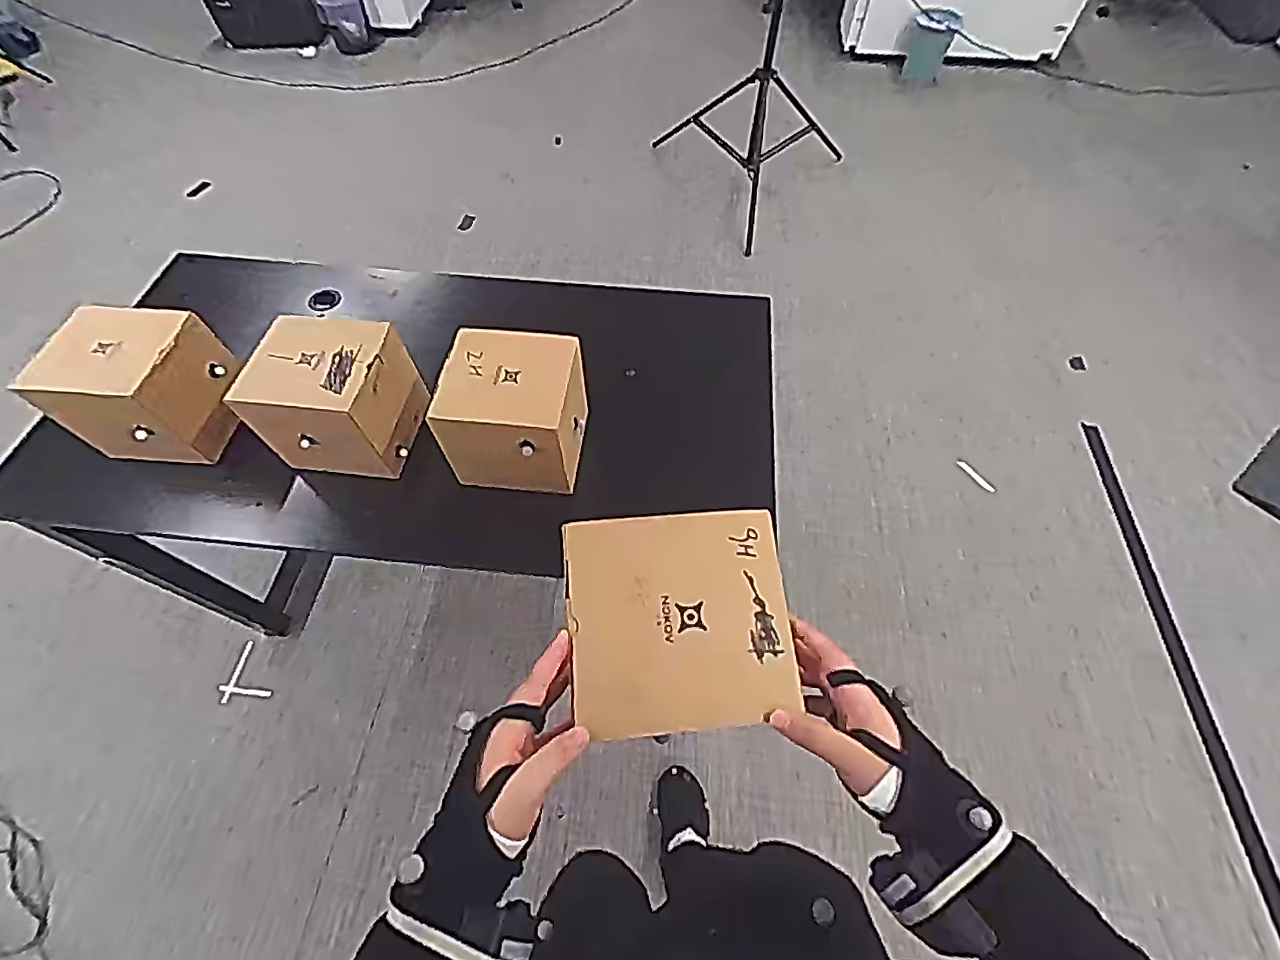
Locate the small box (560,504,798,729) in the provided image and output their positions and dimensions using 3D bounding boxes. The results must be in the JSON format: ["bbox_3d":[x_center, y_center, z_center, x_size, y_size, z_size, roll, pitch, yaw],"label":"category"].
[{"bbox_3d":[0.023,0.129,0.502,0.179,0.176,0.168,-4,71,-5],"label":"small box"}]

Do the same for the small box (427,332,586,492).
[{"bbox_3d":[-0.180,-0.095,0.801,0.179,0.176,0.168,5,58,3],"label":"small box"}]

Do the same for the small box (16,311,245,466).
[{"bbox_3d":[-0.744,-0.135,0.829,0.179,0.176,0.168,3,58,2],"label":"small box"}]

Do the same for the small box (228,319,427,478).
[{"bbox_3d":[-0.450,-0.117,0.816,0.179,0.176,0.168,5,59,4],"label":"small box"}]
